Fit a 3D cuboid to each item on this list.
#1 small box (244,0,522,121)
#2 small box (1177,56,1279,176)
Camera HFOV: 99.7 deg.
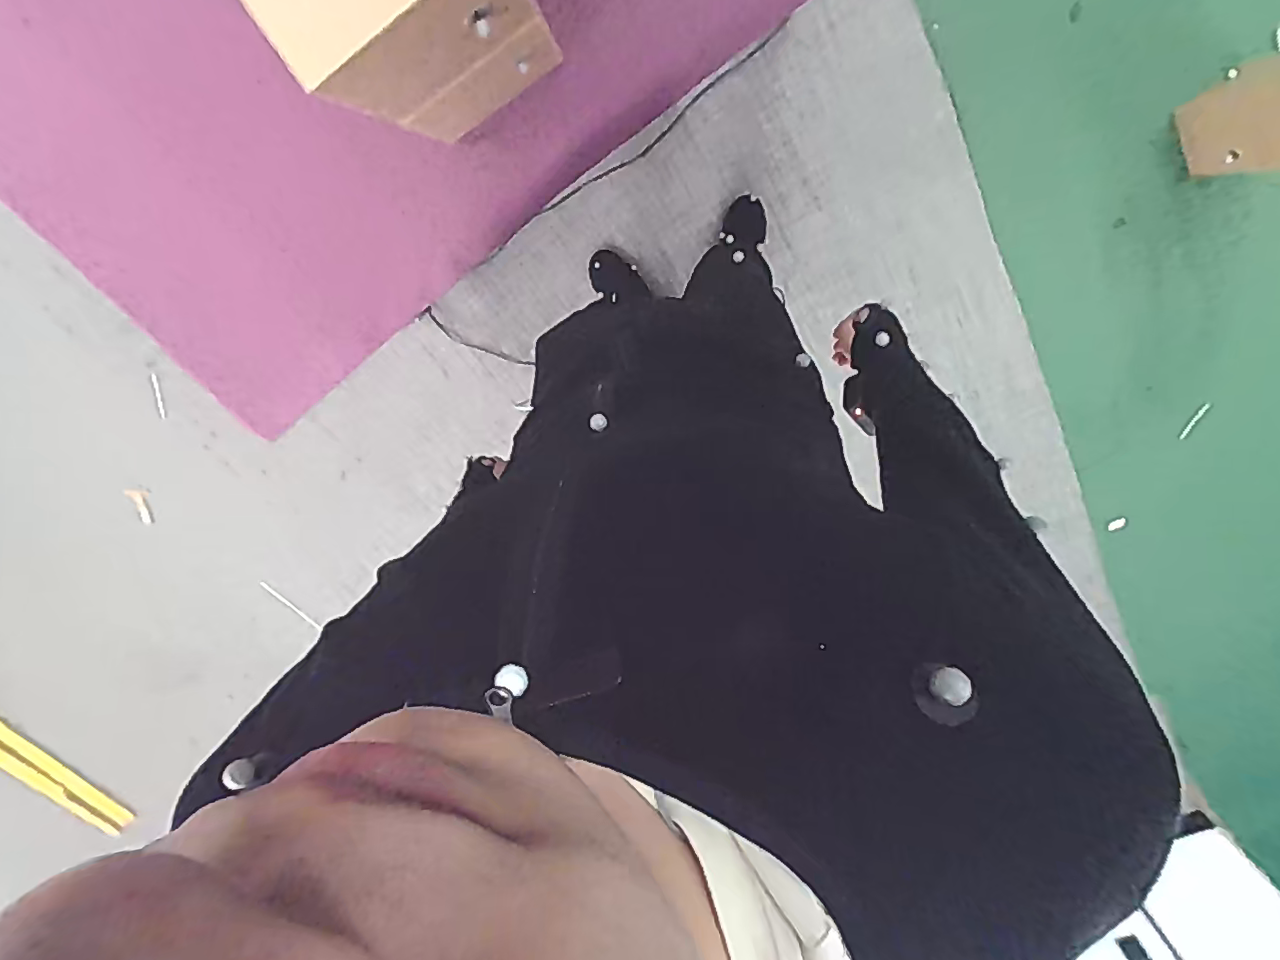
[{"bbox_3d":[-0.211,-0.422,0.425,0.179,0.176,0.168,-27,113,13],"label":"small box"},{"bbox_3d":[1.365,-0.809,1.200,0.168,0.176,0.179,-34,112,16],"label":"small box"}]
